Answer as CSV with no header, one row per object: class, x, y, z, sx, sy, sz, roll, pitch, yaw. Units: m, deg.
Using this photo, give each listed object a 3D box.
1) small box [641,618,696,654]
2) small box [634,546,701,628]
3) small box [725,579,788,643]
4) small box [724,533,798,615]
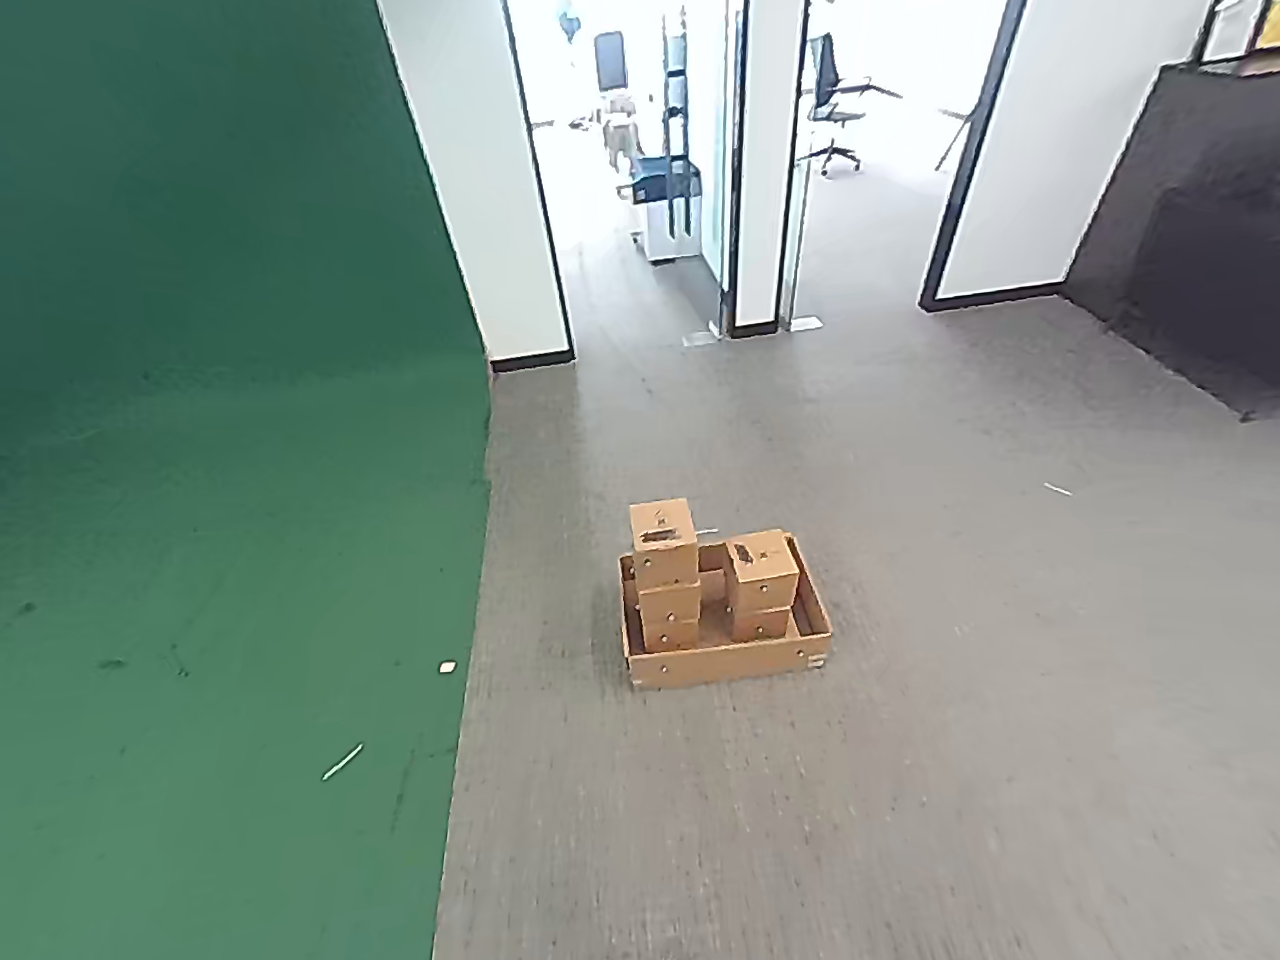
small box,0.087,0.437,1.714,0.168,0.176,0.179,-6,42,-1
small box,0.078,0.318,1.601,0.179,0.176,0.168,-7,42,-2
small box,0.366,0.404,1.719,0.168,0.176,0.179,-7,43,1
small box,0.352,0.283,1.606,0.179,0.176,0.168,-9,44,-3
